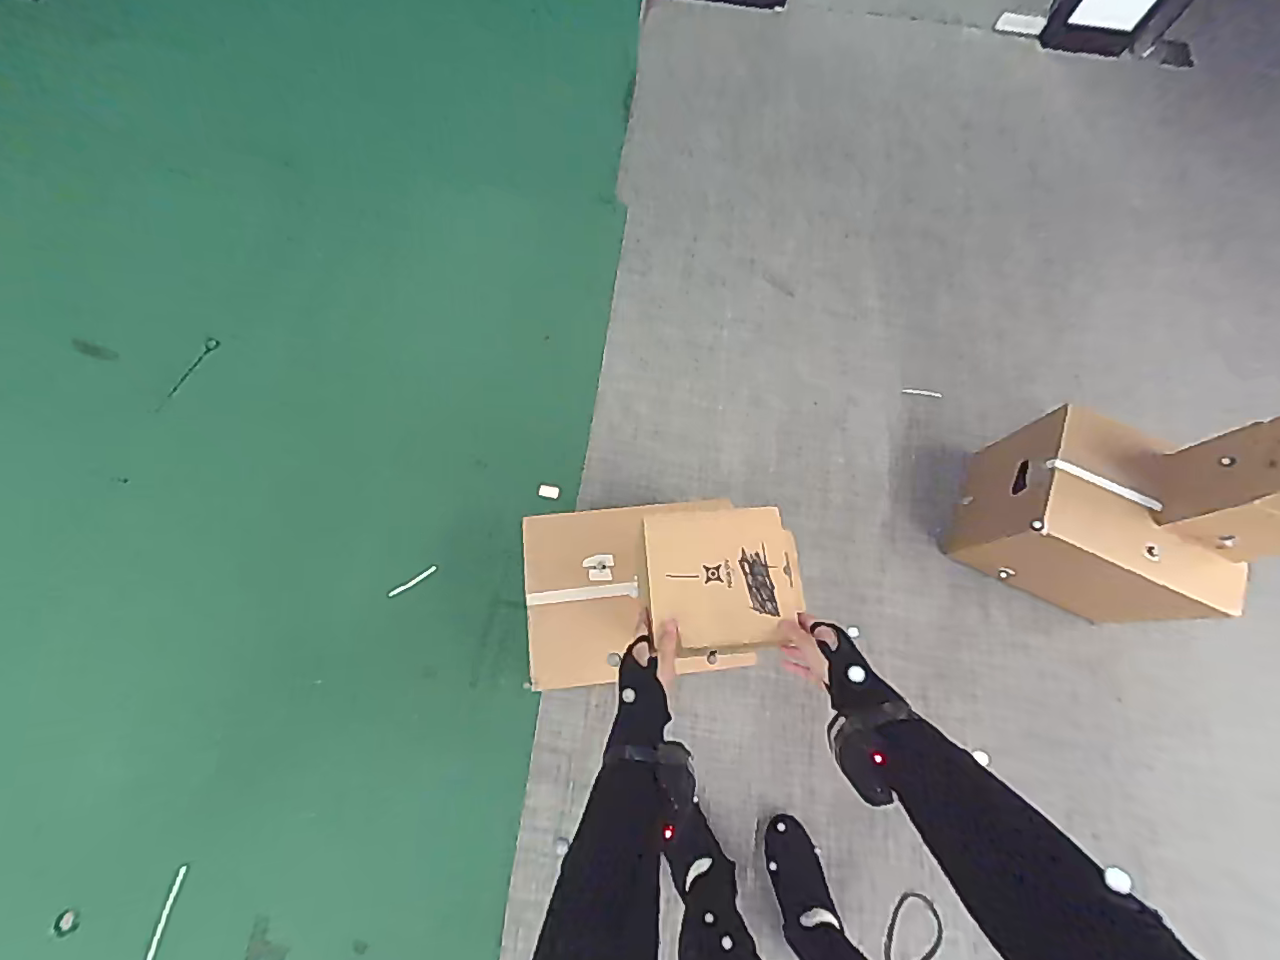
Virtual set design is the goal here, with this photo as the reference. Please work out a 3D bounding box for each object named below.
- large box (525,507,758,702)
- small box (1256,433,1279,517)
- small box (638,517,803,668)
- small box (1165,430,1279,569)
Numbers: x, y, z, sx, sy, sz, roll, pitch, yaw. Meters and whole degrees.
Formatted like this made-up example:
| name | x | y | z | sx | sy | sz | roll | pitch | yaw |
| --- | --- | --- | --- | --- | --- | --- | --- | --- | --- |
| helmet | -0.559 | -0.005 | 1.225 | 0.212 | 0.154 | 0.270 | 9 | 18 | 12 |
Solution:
| name | x | y | z | sx | sy | sz | roll | pitch | yaw |
| --- | --- | --- | --- | --- | --- | --- | --- | --- | --- |
| large box | -0.006 | 0.262 | 1.128 | 0.408 | 0.320 | 0.320 | -6 | 71 | -3 |
| small box | 1.151 | -0.007 | 0.846 | 0.179 | 0.176 | 0.168 | 27 | 71 | 7 |
| small box | 0.093 | 0.154 | 0.718 | 0.179 | 0.176 | 0.168 | -3 | 67 | -4 |
| small box | 1.134 | 0.042 | 0.999 | 0.168 | 0.176 | 0.179 | 26 | 71 | 6 |
